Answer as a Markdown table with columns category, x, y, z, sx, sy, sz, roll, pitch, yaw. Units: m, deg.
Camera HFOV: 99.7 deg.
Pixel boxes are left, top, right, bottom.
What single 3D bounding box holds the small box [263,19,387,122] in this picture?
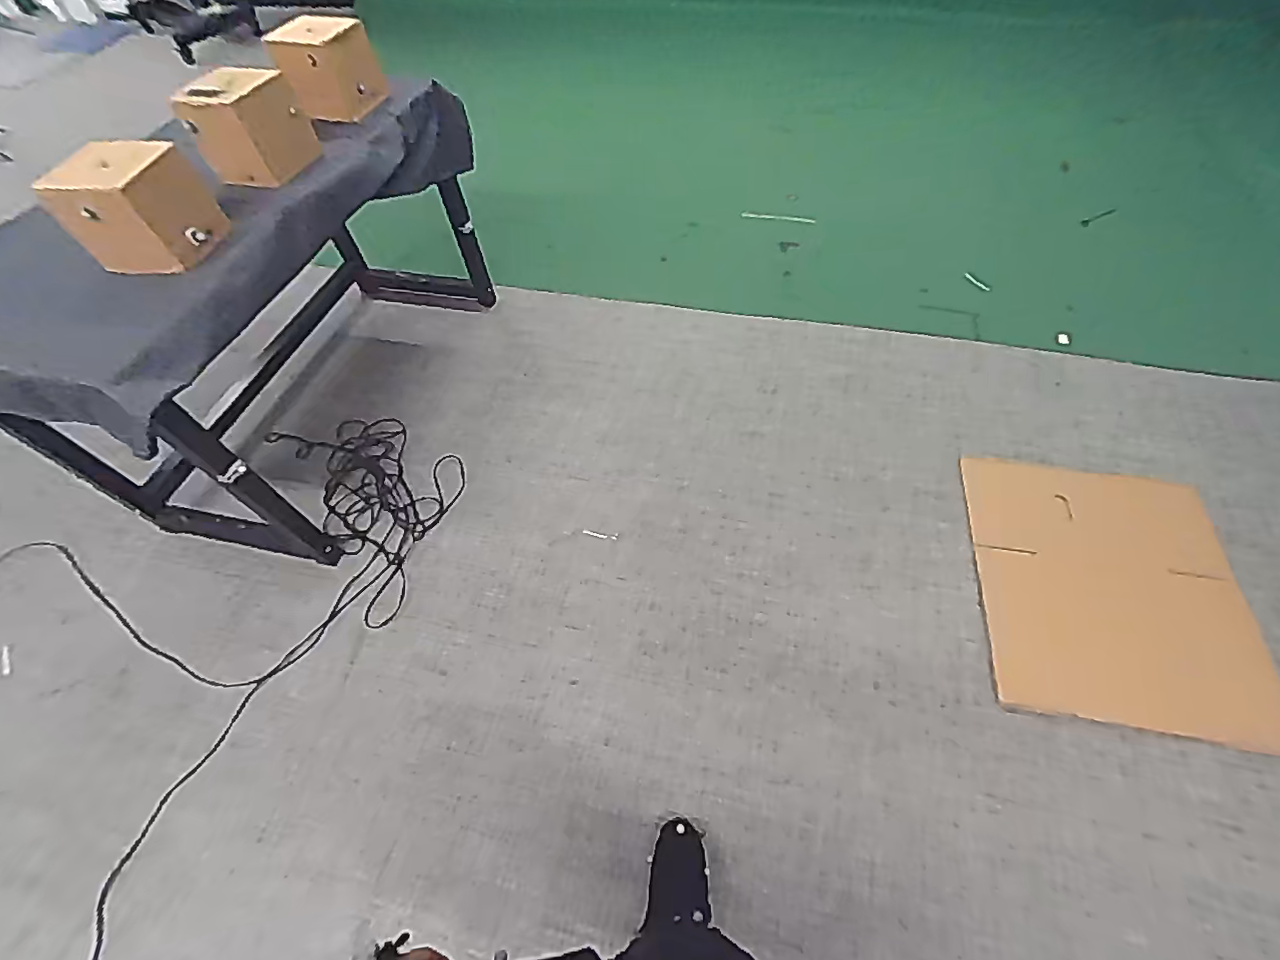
| category | x | y | z | sx | sy | sz | roll | pitch | yaw |
| --- | --- | --- | --- | --- | --- | --- | --- | --- | --- |
| small box | -0.789 | -1.038 | 1.373 | 0.179 | 0.176 | 0.168 | 13 | 58 | 12 |

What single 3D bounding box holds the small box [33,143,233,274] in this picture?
| category | x | y | z | sx | sy | sz | roll | pitch | yaw |
| --- | --- | --- | --- | --- | --- | --- | --- | --- | --- |
| small box | -0.940 | -0.510 | 1.023 | 0.179 | 0.176 | 0.168 | 4 | 57 | 5 |
